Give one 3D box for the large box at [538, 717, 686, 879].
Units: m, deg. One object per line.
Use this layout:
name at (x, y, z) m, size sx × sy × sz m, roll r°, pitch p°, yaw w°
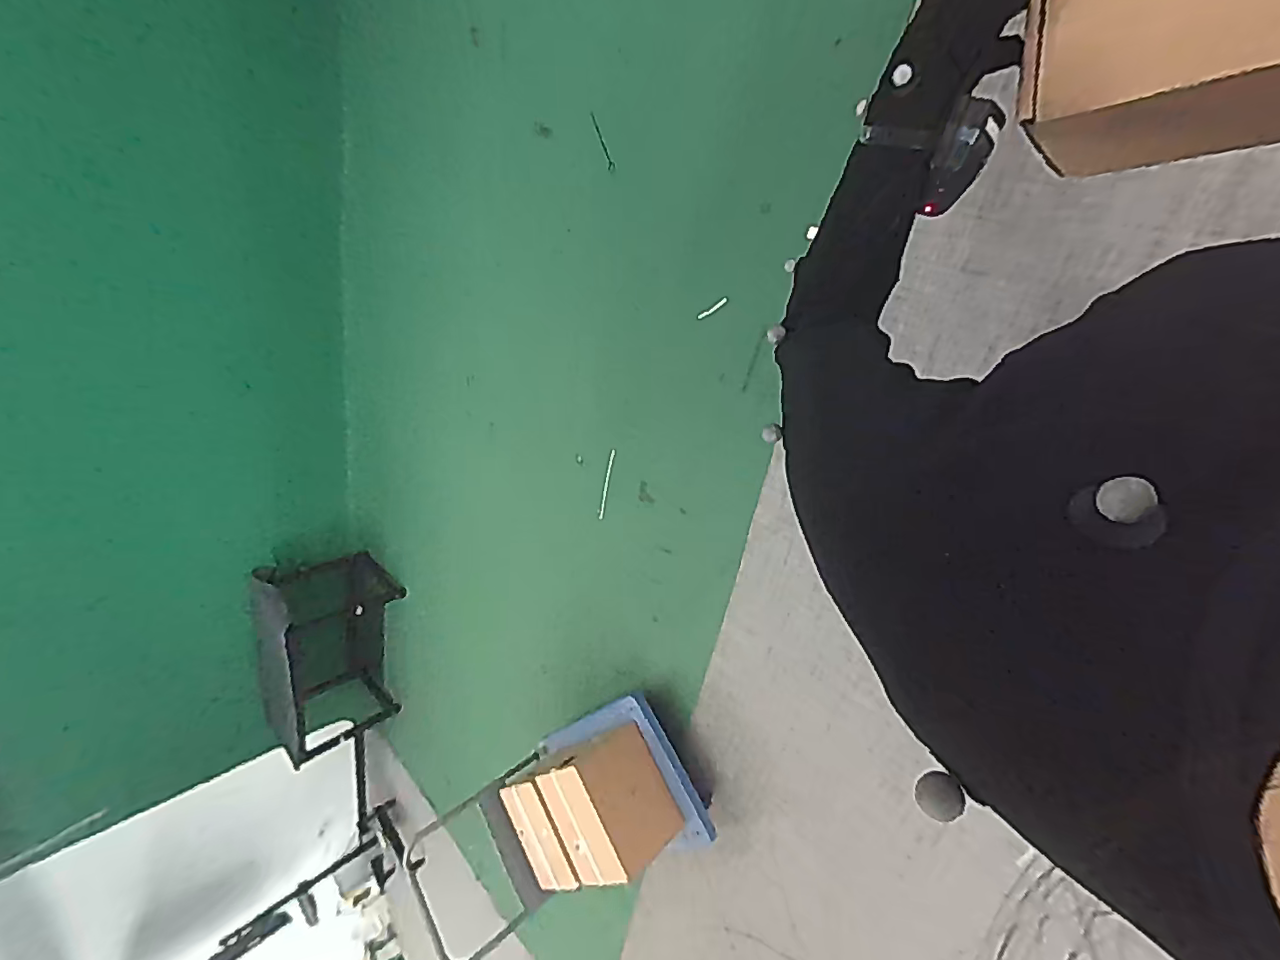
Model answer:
large box at (-0.106, 1.170, 2.008) m, size 0.320 × 0.320 × 0.408 m, roll -41°, pitch 73°, yaw 41°
